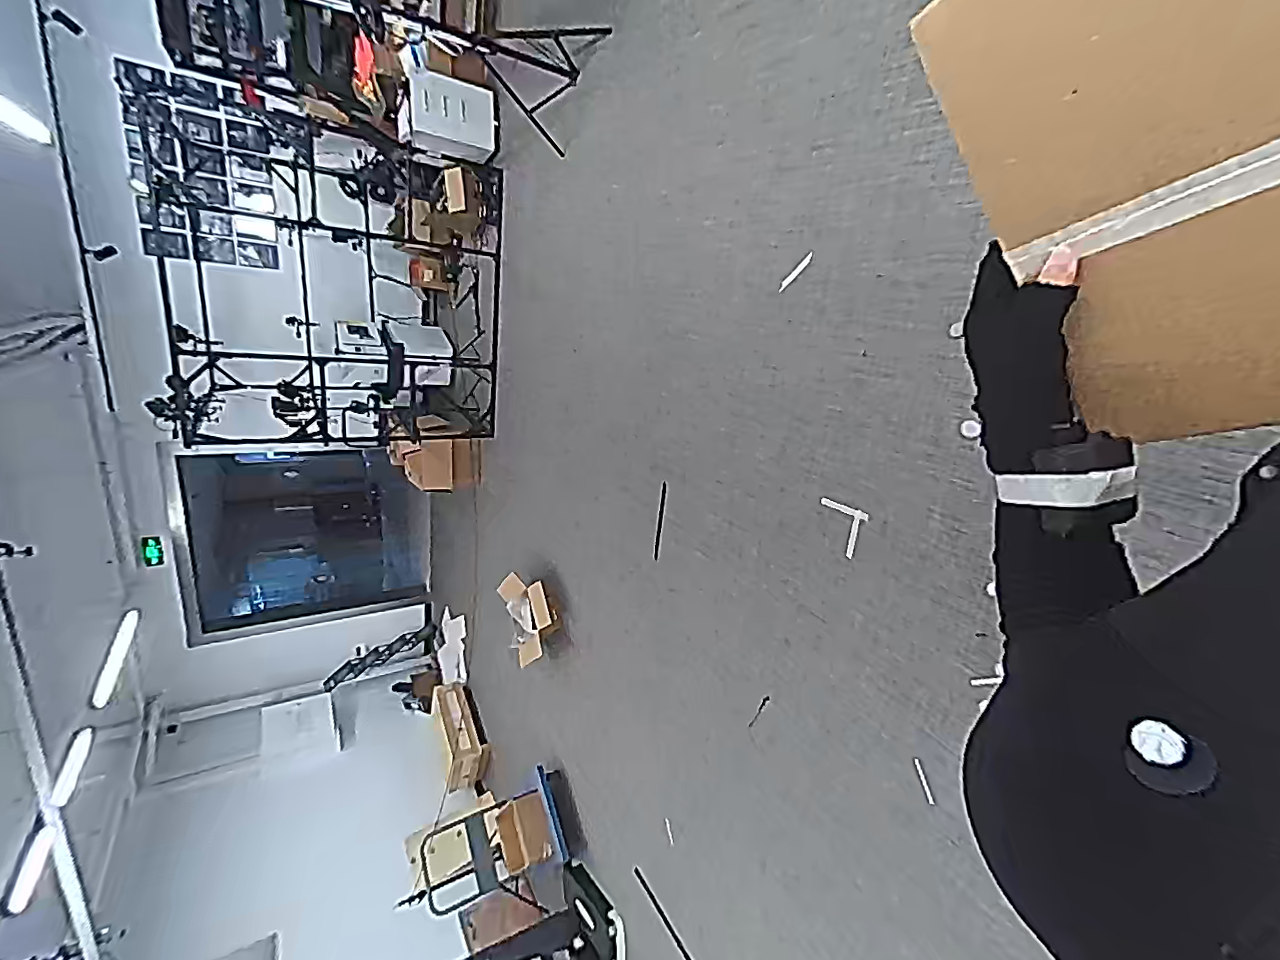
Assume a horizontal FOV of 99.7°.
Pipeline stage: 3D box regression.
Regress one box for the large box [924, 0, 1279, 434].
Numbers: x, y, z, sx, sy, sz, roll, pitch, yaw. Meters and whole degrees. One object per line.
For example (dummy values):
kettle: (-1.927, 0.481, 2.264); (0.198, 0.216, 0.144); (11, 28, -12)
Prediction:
large box: (0.455, -0.271, 0.281); (0.320, 0.320, 0.408); (53, 149, -16)
